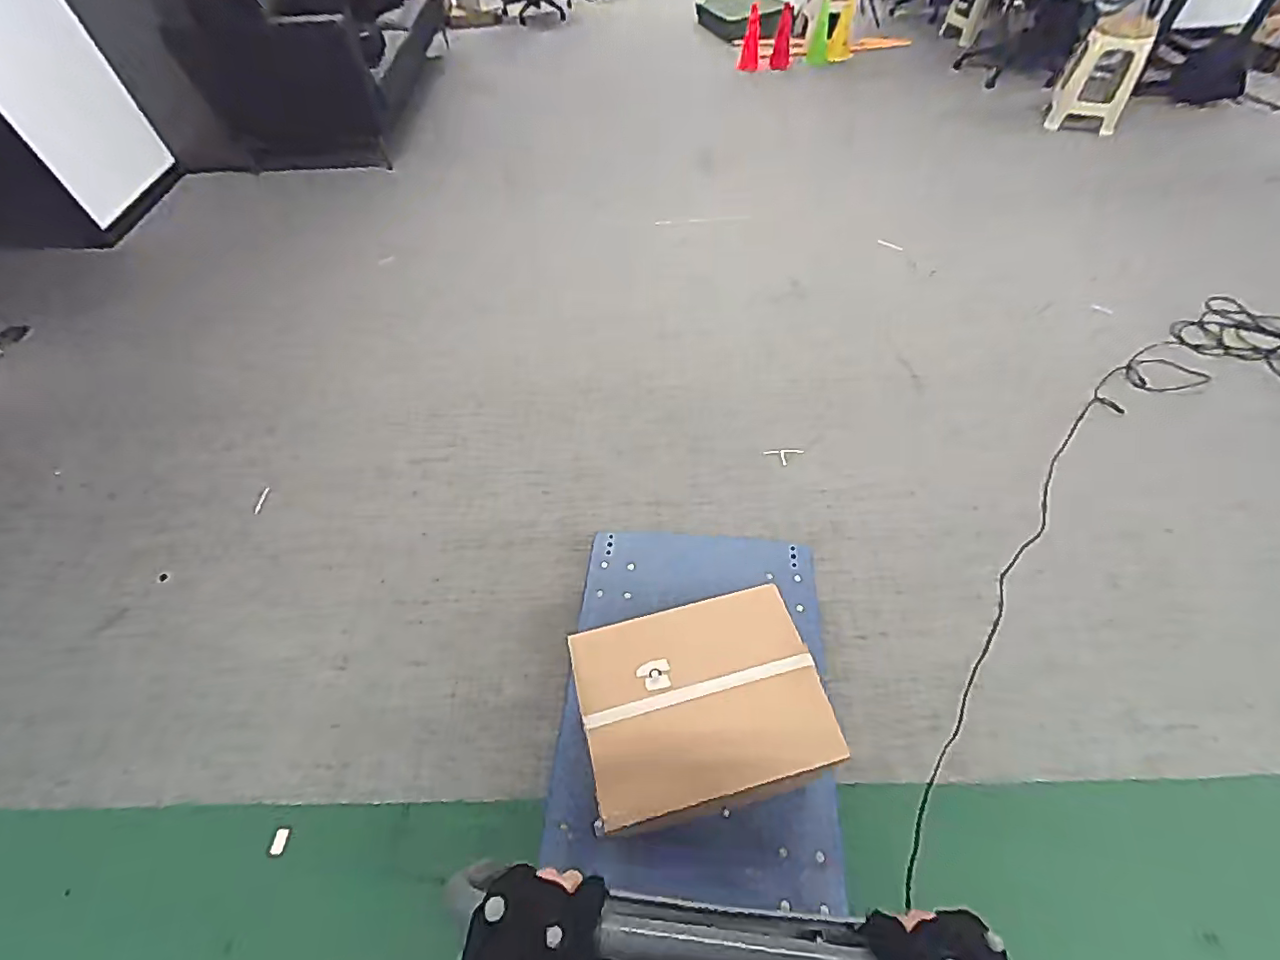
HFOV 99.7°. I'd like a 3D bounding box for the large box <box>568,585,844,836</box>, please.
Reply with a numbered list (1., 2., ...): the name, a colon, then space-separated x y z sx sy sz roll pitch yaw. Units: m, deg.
1. large box: 0.105 0.447 1.039 0.408 0.320 0.320 -13 54 -6
